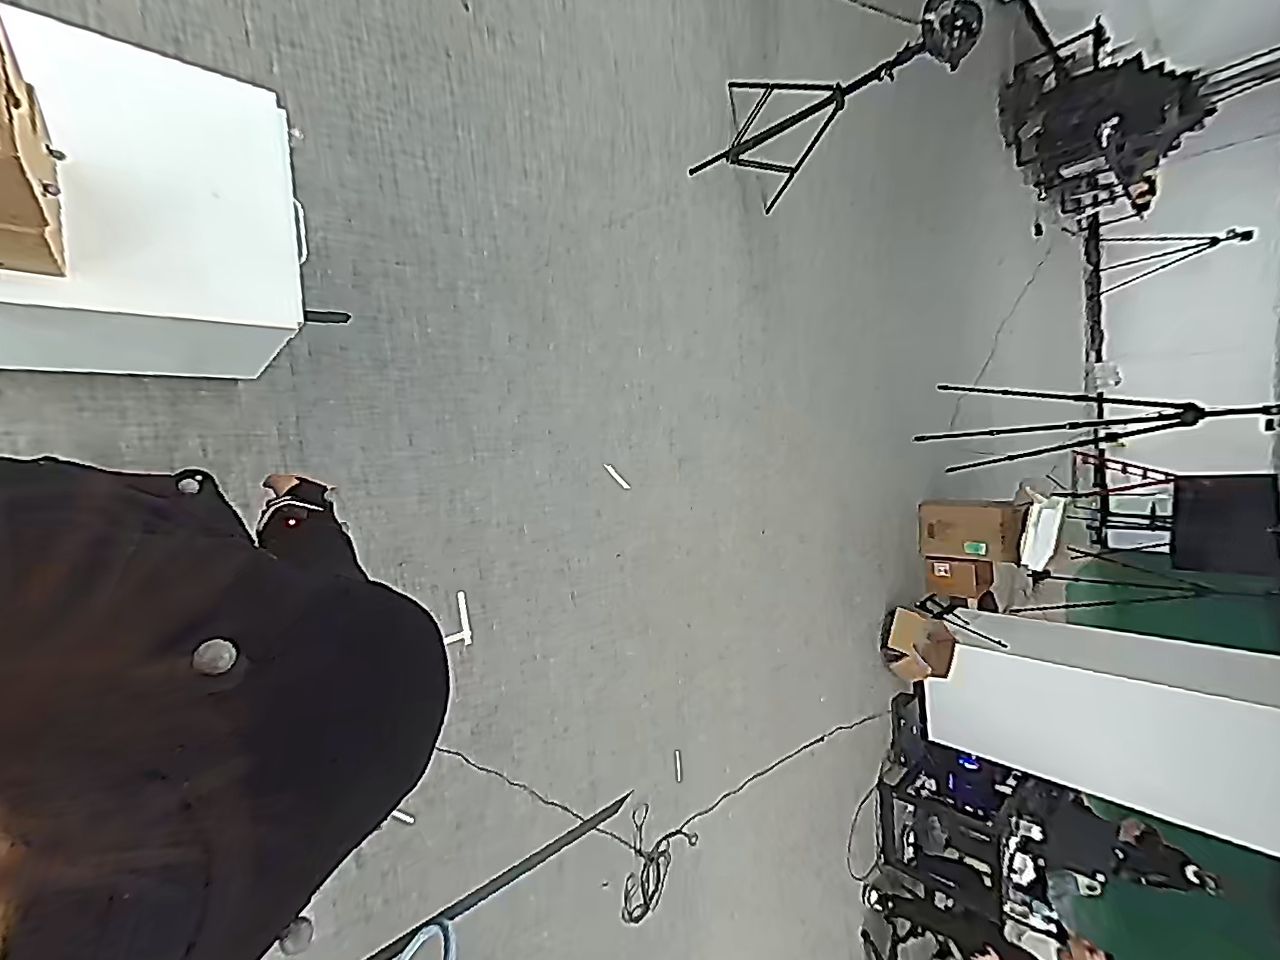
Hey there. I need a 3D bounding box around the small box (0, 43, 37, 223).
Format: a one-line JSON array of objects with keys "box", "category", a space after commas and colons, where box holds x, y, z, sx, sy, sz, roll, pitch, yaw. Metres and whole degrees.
[{"box": [-0.701, -0.357, 0.496, 0.179, 0.176, 0.168, -10, 95, -40], "category": "small box"}]

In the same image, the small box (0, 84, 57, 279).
[{"box": [-0.806, -0.355, 0.622, 0.168, 0.176, 0.179, -5, 92, -42], "category": "small box"}]
